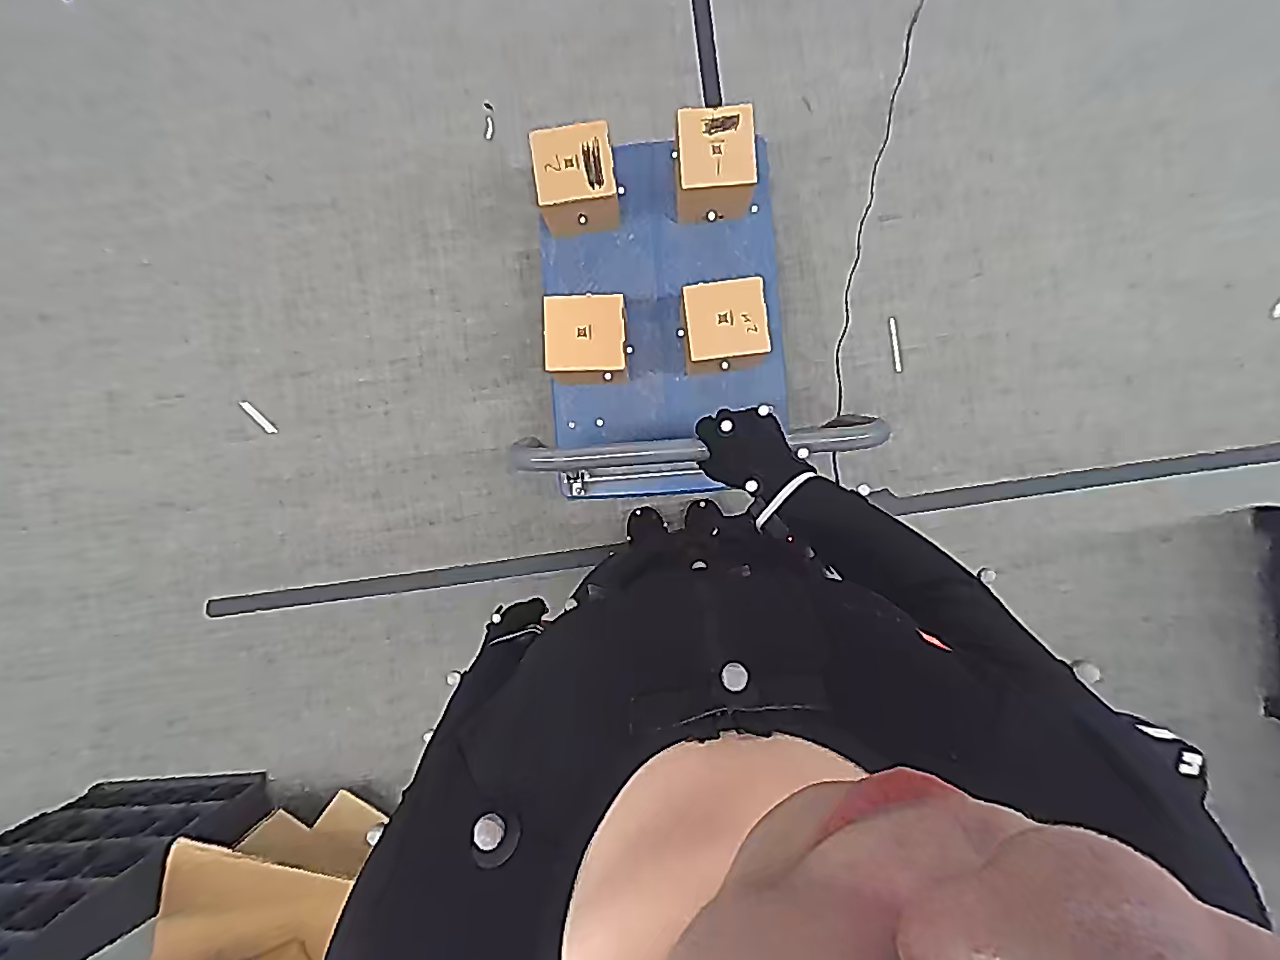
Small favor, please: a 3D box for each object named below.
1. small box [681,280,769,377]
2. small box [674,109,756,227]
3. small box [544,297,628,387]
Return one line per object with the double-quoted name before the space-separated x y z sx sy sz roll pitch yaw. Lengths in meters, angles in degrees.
"small box" 0.188 -0.340 1.249 0.179 0.176 0.168 -7 89 2
"small box" 0.167 -0.716 1.254 0.168 0.176 0.179 -4 90 2
"small box" -0.121 -0.313 1.257 0.179 0.176 0.168 -2 89 0
